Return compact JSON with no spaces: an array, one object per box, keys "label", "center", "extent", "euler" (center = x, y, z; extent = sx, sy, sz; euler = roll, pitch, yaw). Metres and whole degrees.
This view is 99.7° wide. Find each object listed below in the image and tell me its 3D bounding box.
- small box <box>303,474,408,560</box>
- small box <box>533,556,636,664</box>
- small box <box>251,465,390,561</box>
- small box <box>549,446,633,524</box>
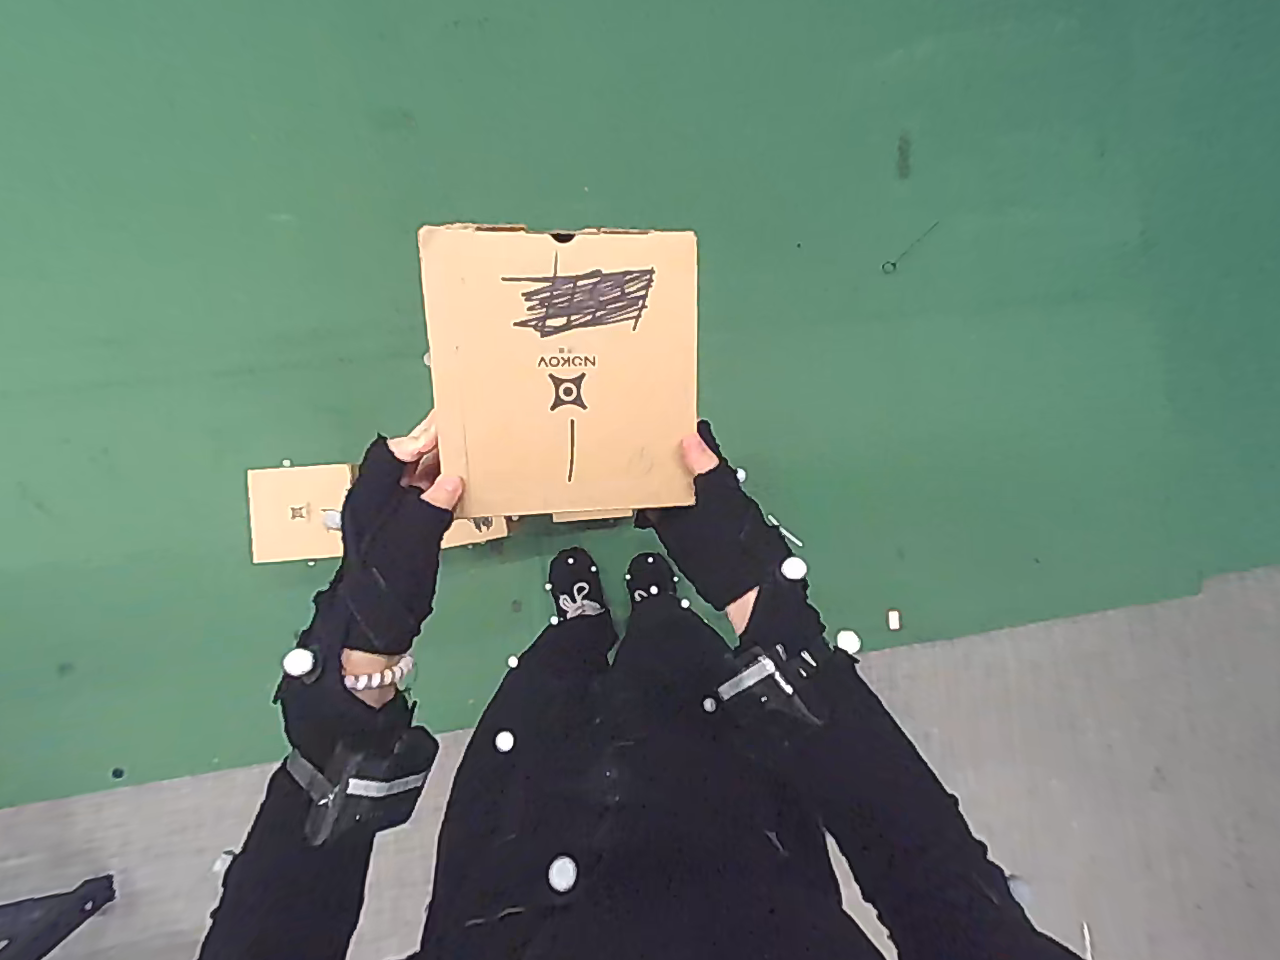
[{"label":"small box","center":[-0.626,0.076,1.198],"extent":[0.168,0.176,0.179],"euler":[-3,88,-6]},{"label":"small box","center":[-0.132,0.298,1.265],"extent":[0.179,0.176,0.168],"euler":[24,97,11]},{"label":"small box","center":[-0.601,0.061,1.035],"extent":[0.179,0.176,0.168],"euler":[-4,89,-6]},{"label":"small box","center":[-0.116,0.010,1.254],"extent":[0.179,0.176,0.168],"euler":[-4,88,-6]}]
